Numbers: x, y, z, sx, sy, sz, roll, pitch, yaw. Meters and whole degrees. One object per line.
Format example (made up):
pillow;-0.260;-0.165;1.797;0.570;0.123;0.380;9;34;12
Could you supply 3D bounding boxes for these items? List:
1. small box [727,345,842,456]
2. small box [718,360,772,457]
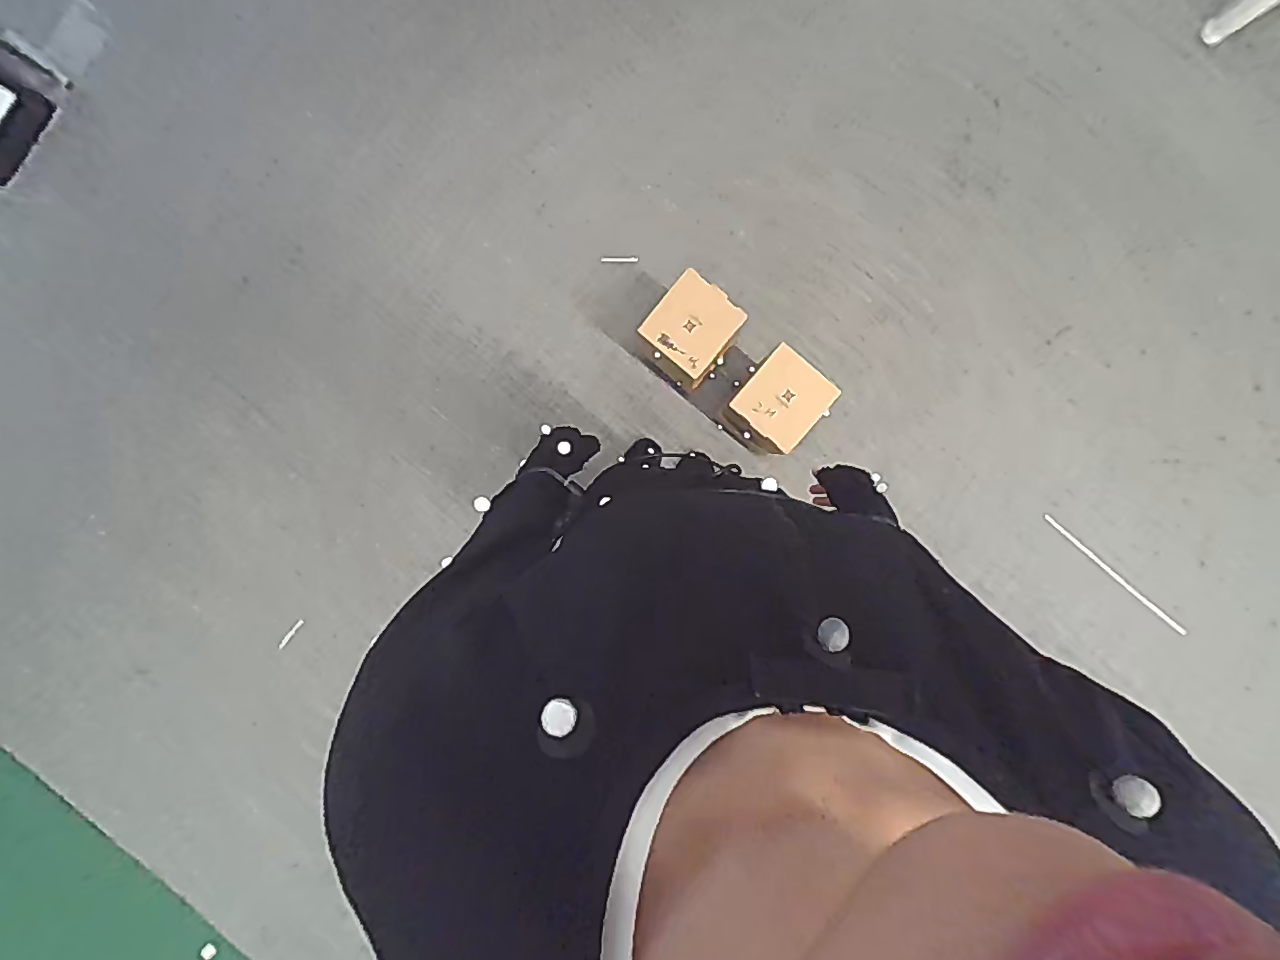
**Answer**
small box;0.310;-0.170;1.209;0.168;0.176;0.179;41;94;1
small box;0.313;-0.173;1.373;0.168;0.176;0.179;40;93;0
